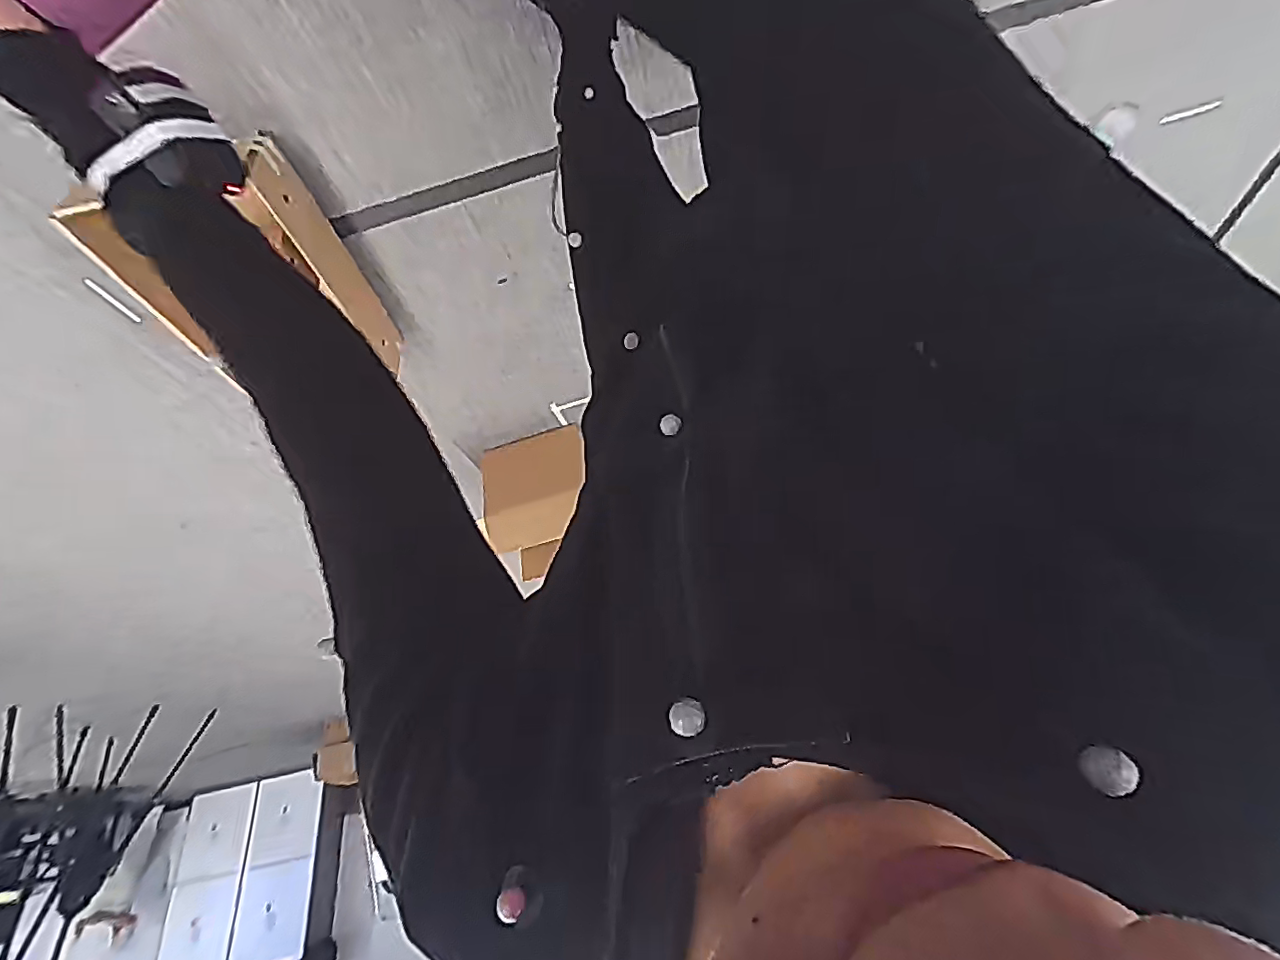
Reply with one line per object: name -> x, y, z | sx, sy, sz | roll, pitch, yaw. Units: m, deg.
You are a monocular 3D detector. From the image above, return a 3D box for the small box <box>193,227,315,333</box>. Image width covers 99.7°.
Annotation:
small box -> -0.888, -0.472, 1.268 | 0.179, 0.176, 0.168 | -8, 148, -7
